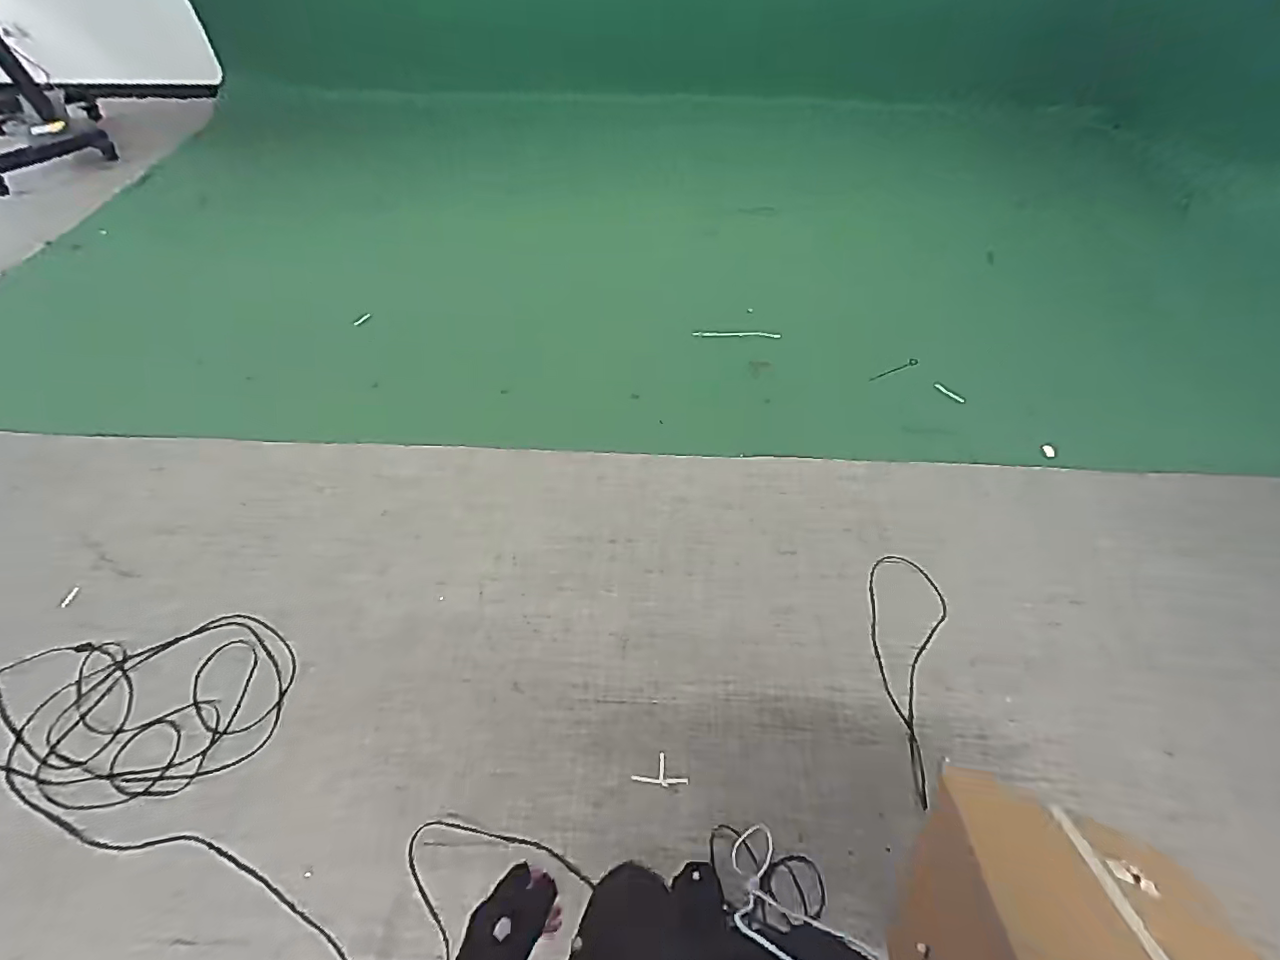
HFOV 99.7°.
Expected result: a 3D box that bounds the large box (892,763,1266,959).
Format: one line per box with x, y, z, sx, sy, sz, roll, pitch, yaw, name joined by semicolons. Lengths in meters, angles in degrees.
0.532;0.649;0.667;0.320;0.408;0.320;16;96;18;large box
